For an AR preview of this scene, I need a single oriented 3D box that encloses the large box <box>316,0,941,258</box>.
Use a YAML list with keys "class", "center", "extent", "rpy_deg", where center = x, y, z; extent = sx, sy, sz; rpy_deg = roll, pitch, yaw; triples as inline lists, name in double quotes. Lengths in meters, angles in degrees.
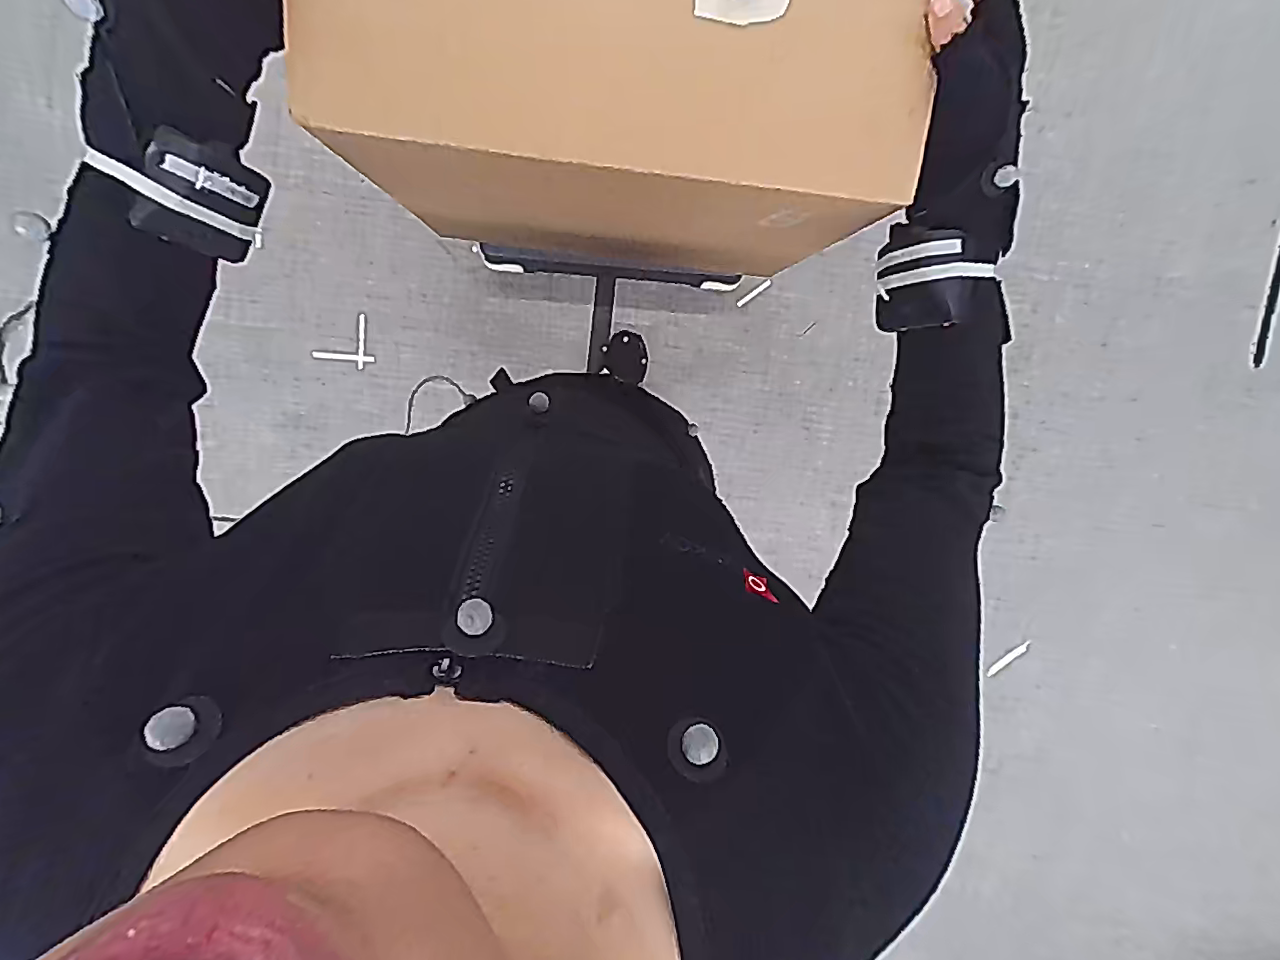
- class: "large box"
  center: [-0.008, -0.401, 0.475]
  extent: [0.408, 0.320, 0.320]
  rpy_deg: [4, 103, -6]
